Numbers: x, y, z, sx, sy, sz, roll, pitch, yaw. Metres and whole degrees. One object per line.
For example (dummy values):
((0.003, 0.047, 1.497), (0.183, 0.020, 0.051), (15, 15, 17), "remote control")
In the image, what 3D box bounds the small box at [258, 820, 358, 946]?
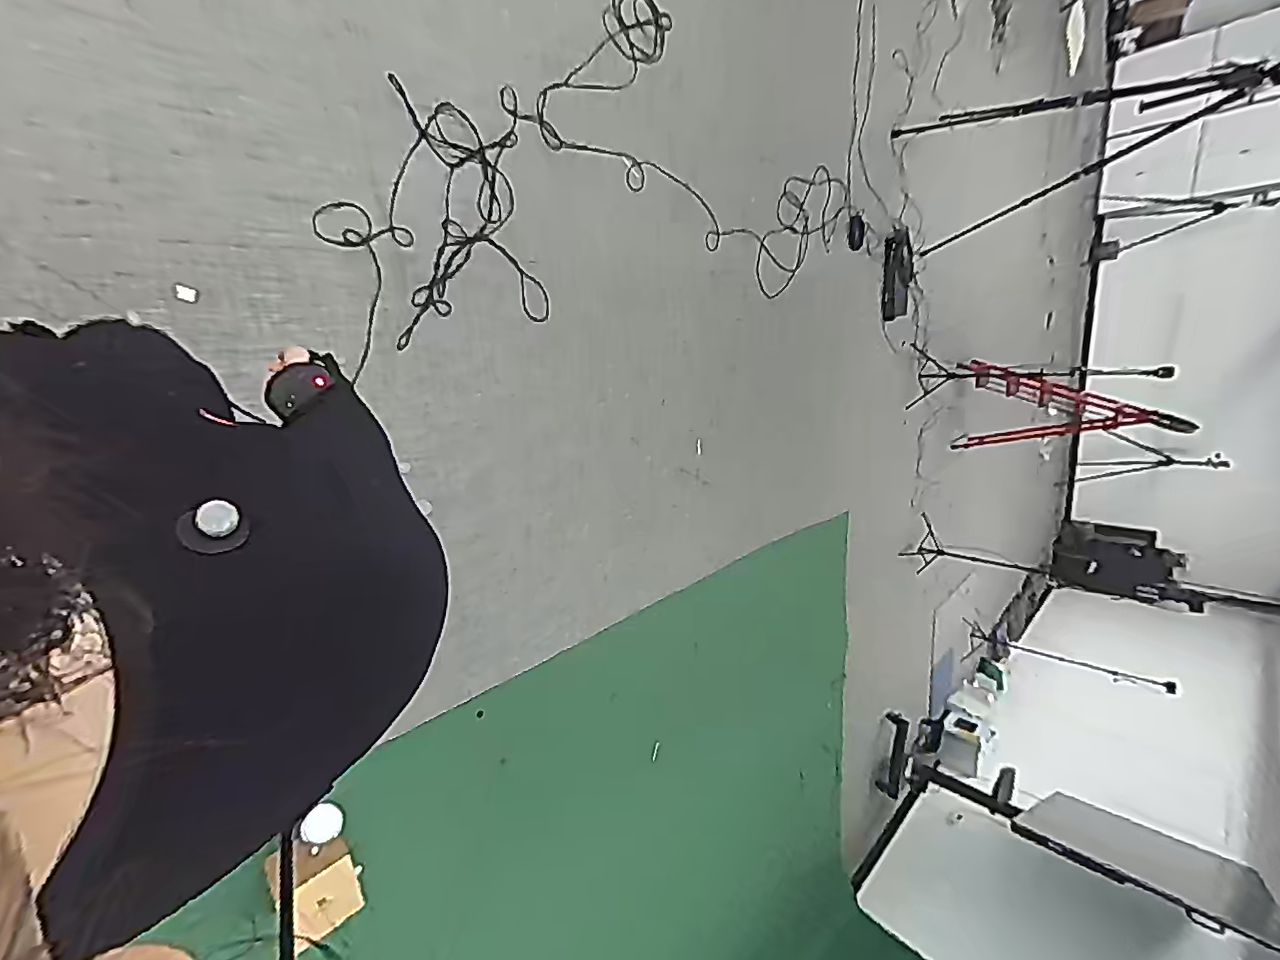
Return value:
((-0.862, 1.025, 1.400), (0.168, 0.176, 0.179), (-20, 112, -41), "small box")
